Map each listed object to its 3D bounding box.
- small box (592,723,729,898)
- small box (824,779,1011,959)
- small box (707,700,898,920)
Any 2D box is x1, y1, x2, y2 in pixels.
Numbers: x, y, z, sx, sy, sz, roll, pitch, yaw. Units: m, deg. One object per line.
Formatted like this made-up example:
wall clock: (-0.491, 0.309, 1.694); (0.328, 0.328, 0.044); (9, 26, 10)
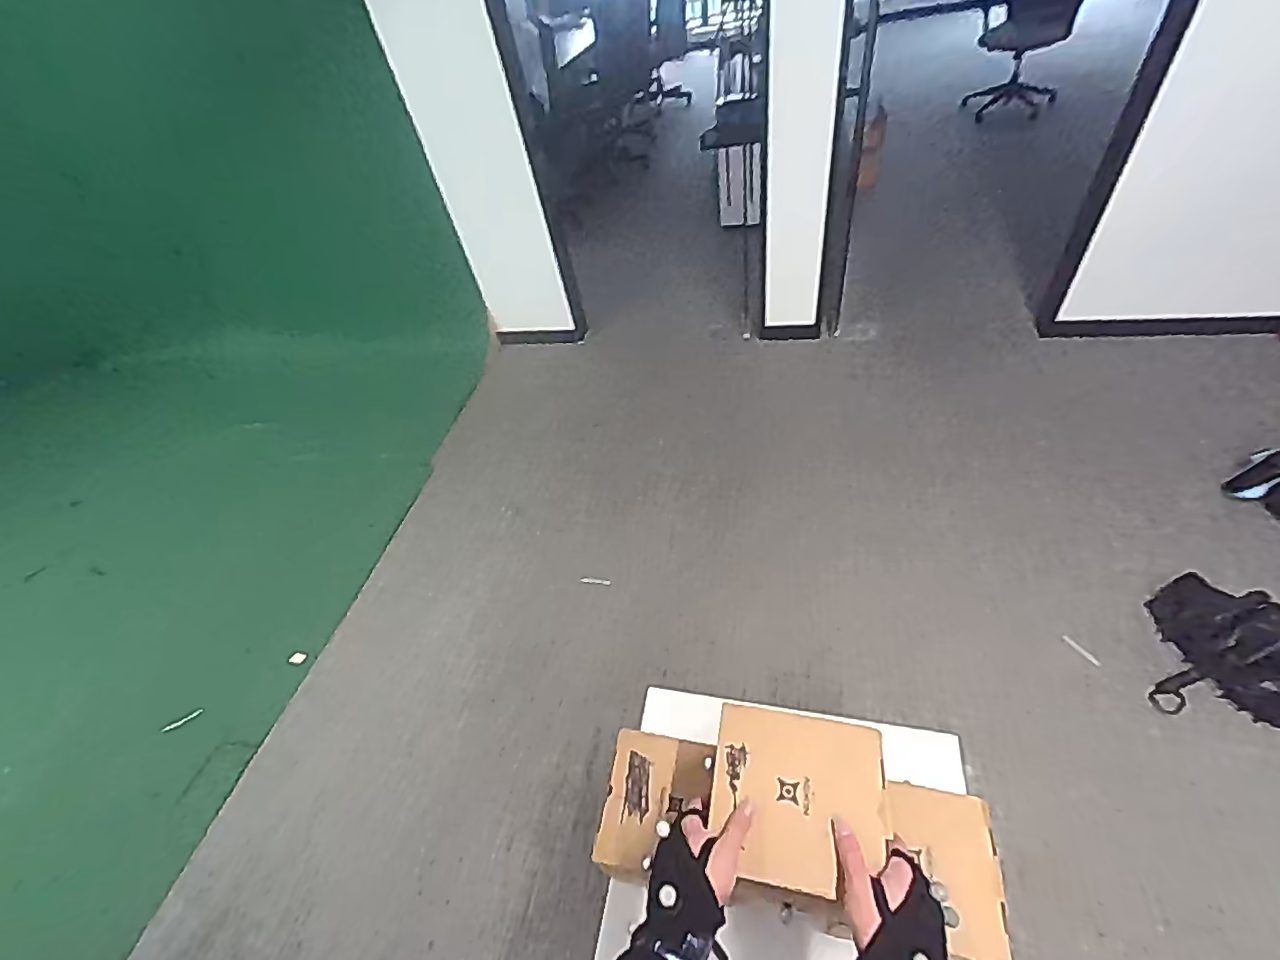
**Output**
small box: (0.047, 0.470, 0.767); (0.179, 0.176, 0.168); (6, 50, 12)
small box: (0.337, 0.499, 0.696); (0.179, 0.176, 0.168); (4, 48, 15)
small box: (0.175, 0.375, 0.614); (0.179, 0.176, 0.168); (6, 50, 13)
